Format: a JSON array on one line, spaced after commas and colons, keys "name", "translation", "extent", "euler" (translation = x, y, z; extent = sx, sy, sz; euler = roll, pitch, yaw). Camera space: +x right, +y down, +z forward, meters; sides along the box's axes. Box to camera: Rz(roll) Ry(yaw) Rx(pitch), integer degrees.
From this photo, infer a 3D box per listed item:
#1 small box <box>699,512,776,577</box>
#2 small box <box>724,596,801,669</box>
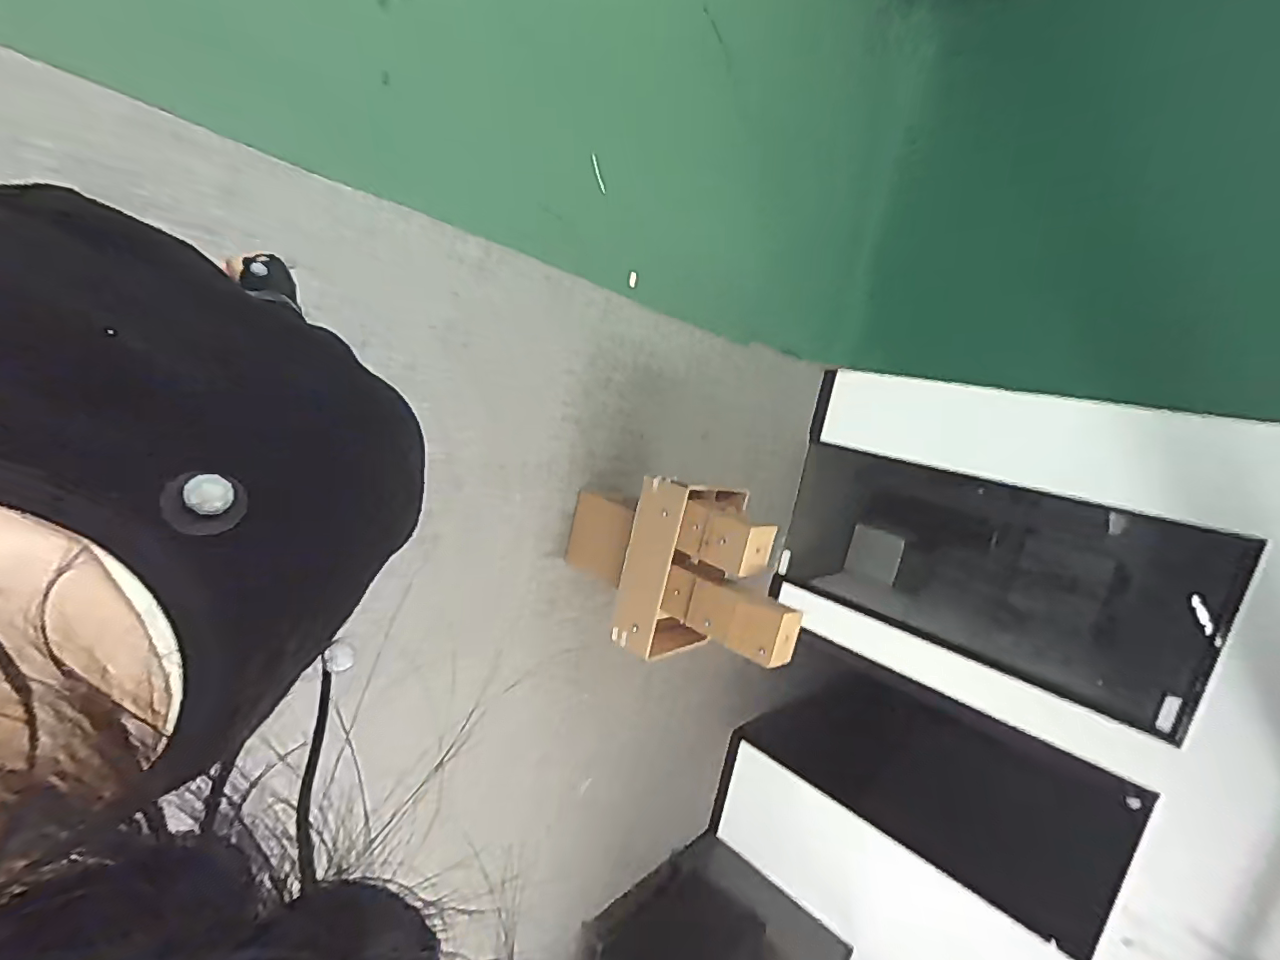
[{"name": "small box", "translation": [0.321, 0.210, 1.806], "extent": [0.179, 0.176, 0.168], "euler": [3, 104, -48]}, {"name": "small box", "translation": [0.394, 0.485, 1.756], "extent": [0.168, 0.176, 0.179], "euler": [12, 96, -51]}]
